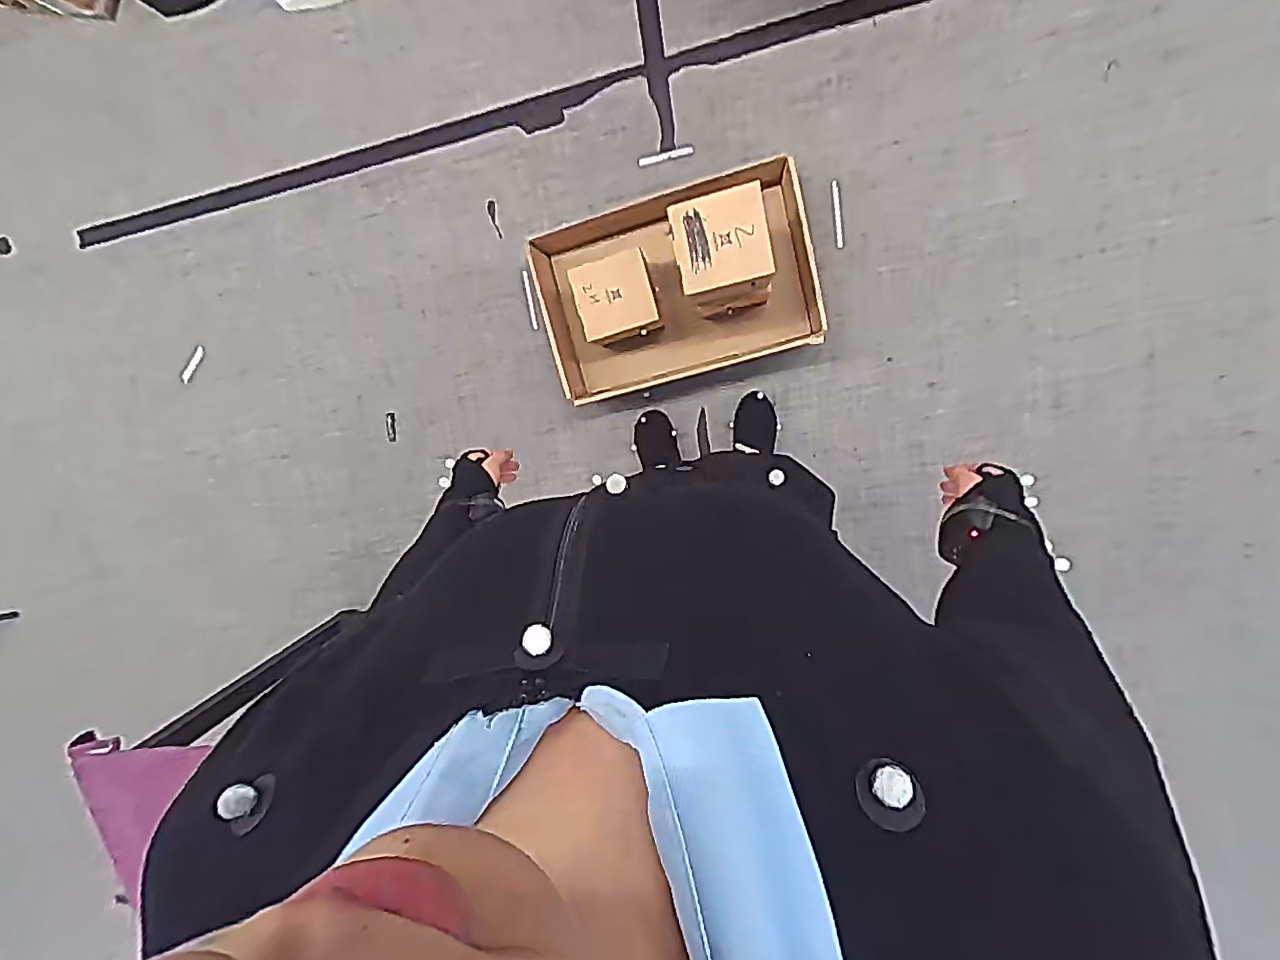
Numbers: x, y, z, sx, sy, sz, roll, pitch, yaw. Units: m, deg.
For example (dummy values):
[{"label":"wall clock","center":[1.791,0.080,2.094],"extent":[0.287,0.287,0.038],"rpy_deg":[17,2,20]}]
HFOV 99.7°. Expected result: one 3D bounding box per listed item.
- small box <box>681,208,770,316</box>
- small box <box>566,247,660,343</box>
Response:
[{"label":"small box","center":[0.195,-0.490,1.243],"extent":[0.168,0.176,0.179],"rpy_deg":[-13,100,12]},{"label":"small box","center":[-0.054,-0.432,1.288],"extent":[0.179,0.176,0.168],"rpy_deg":[-15,98,10]}]
